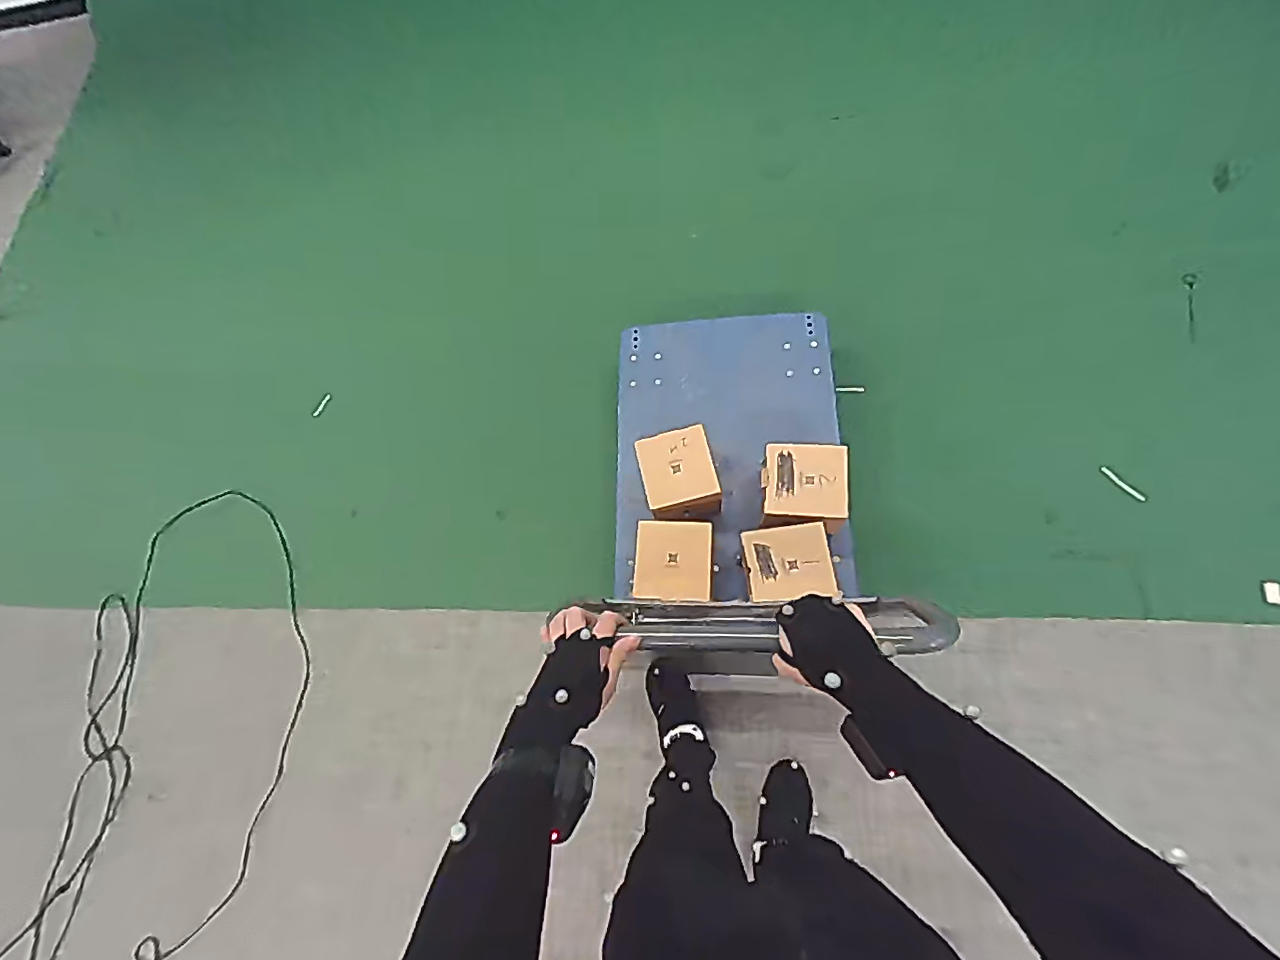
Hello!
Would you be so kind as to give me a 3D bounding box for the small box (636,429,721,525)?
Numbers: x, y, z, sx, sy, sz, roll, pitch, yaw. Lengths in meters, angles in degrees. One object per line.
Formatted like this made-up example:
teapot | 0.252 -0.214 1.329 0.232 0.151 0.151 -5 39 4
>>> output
small box | 0.097 0.002 1.304 0.168 0.176 0.179 -14 70 4
